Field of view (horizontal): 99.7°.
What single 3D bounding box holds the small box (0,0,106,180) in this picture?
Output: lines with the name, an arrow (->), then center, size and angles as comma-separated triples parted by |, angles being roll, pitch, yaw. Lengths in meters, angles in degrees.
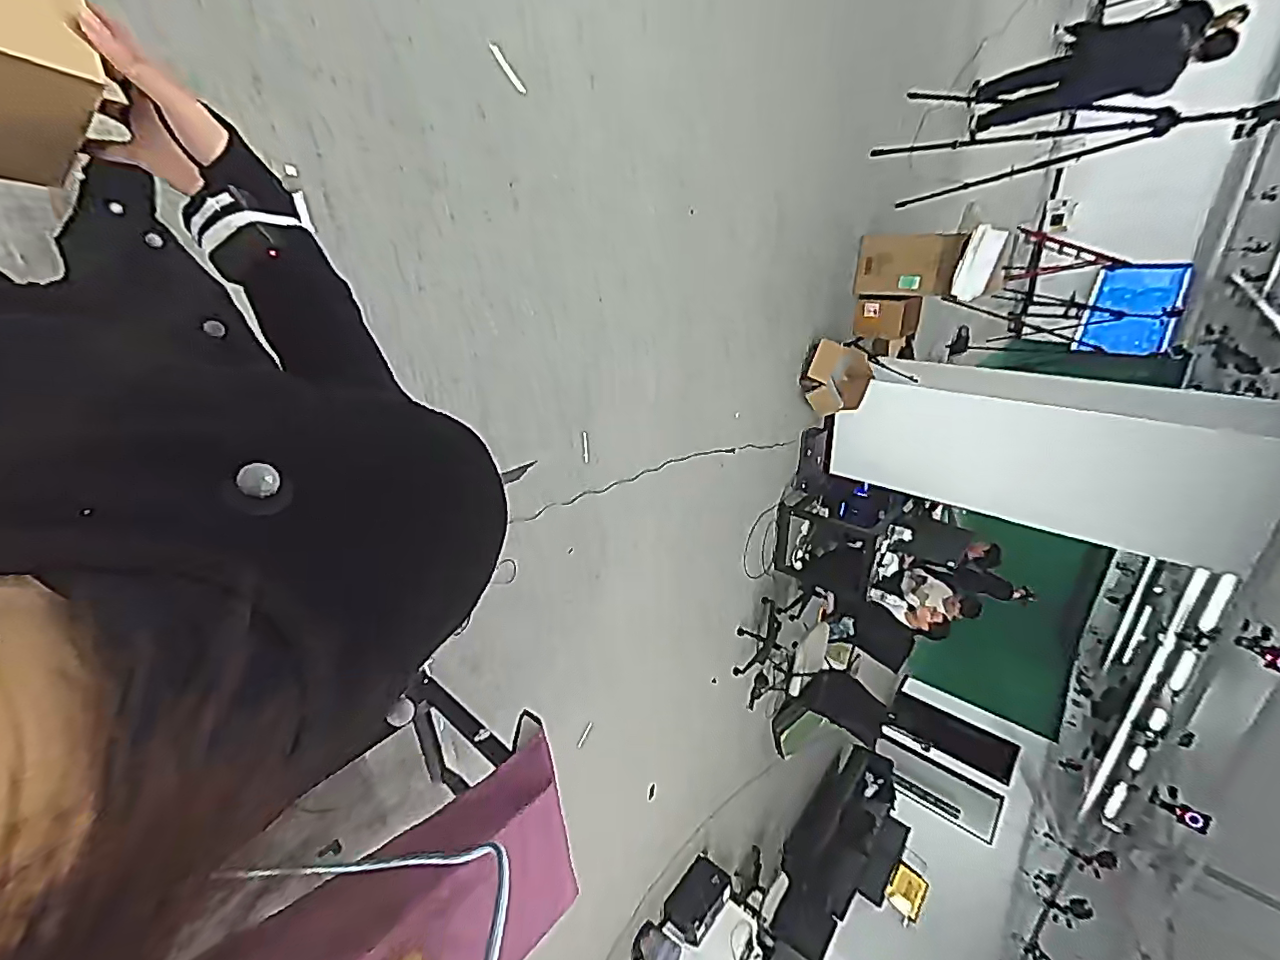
small box -> -0.503, -0.329, 0.352 | 0.179, 0.176, 0.168 | -18, 97, -55
